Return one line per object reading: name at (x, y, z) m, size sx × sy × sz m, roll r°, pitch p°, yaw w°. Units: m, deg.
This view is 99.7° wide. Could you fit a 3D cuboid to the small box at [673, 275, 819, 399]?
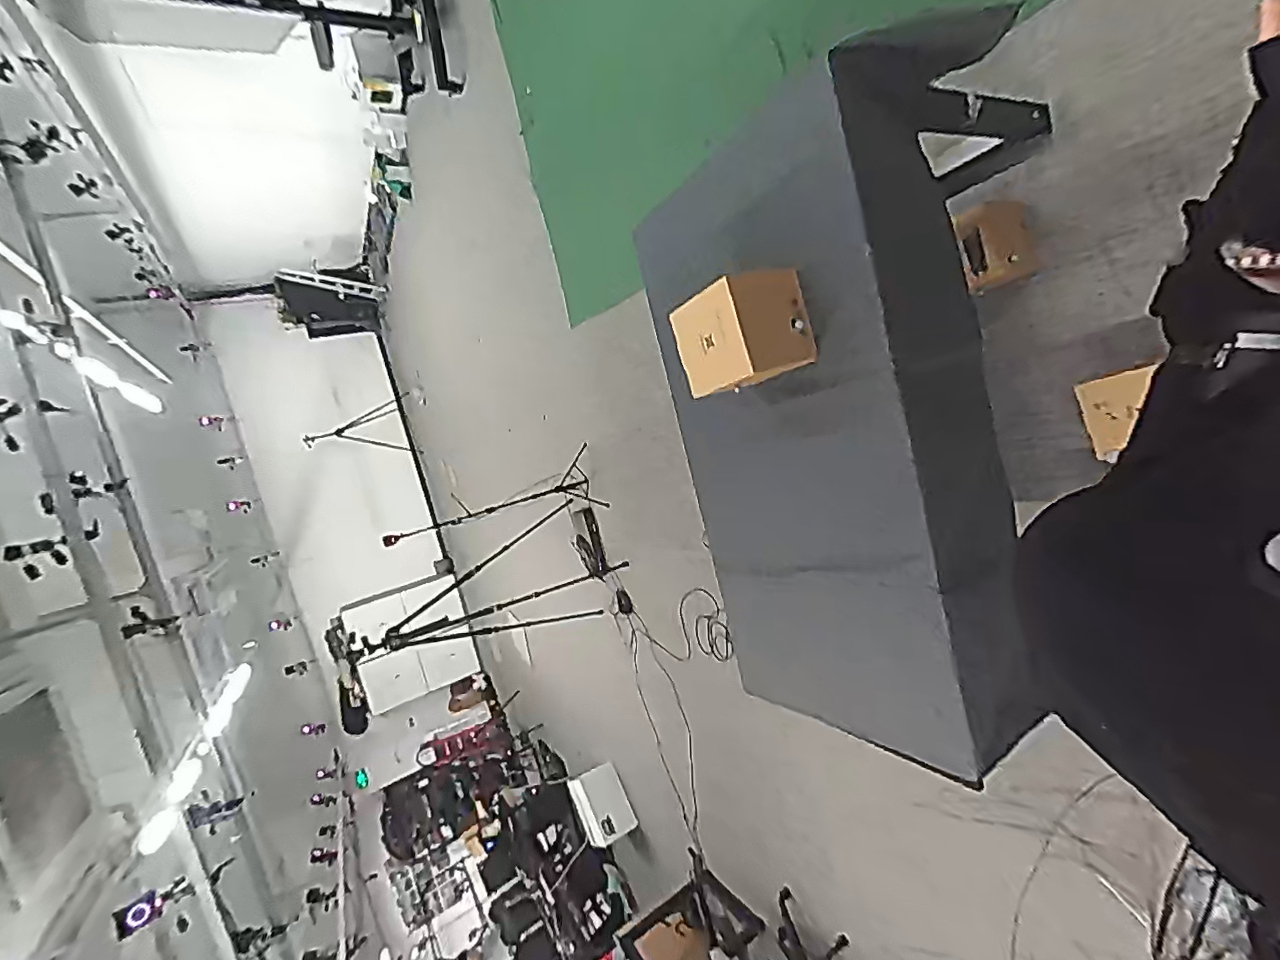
small box at (0.192, -0.258, 0.988) m, size 0.179 × 0.176 × 0.168 m, roll -11°, pitch 97°, yaw 61°
